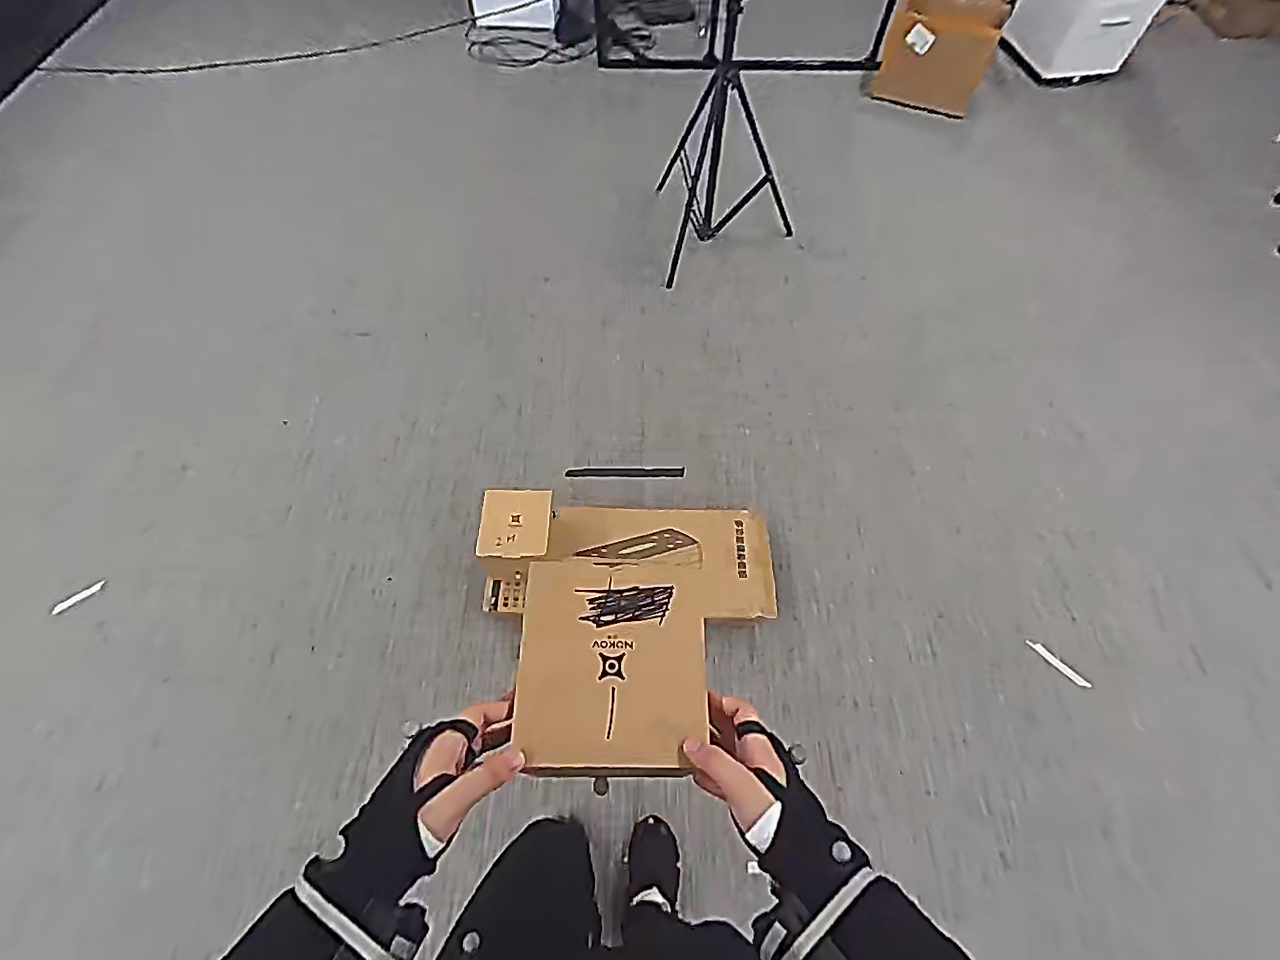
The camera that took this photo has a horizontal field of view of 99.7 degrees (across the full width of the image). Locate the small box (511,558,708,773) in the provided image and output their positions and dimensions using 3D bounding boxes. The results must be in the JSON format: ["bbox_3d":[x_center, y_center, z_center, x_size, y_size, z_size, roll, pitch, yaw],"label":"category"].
[{"bbox_3d":[-0.029,0.194,0.551,0.168,0.176,0.179,2,60,-3],"label":"small box"}]

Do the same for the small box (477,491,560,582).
[{"bbox_3d":[-0.294,0.144,1.354,0.168,0.176,0.179,1,61,0],"label":"small box"}]
